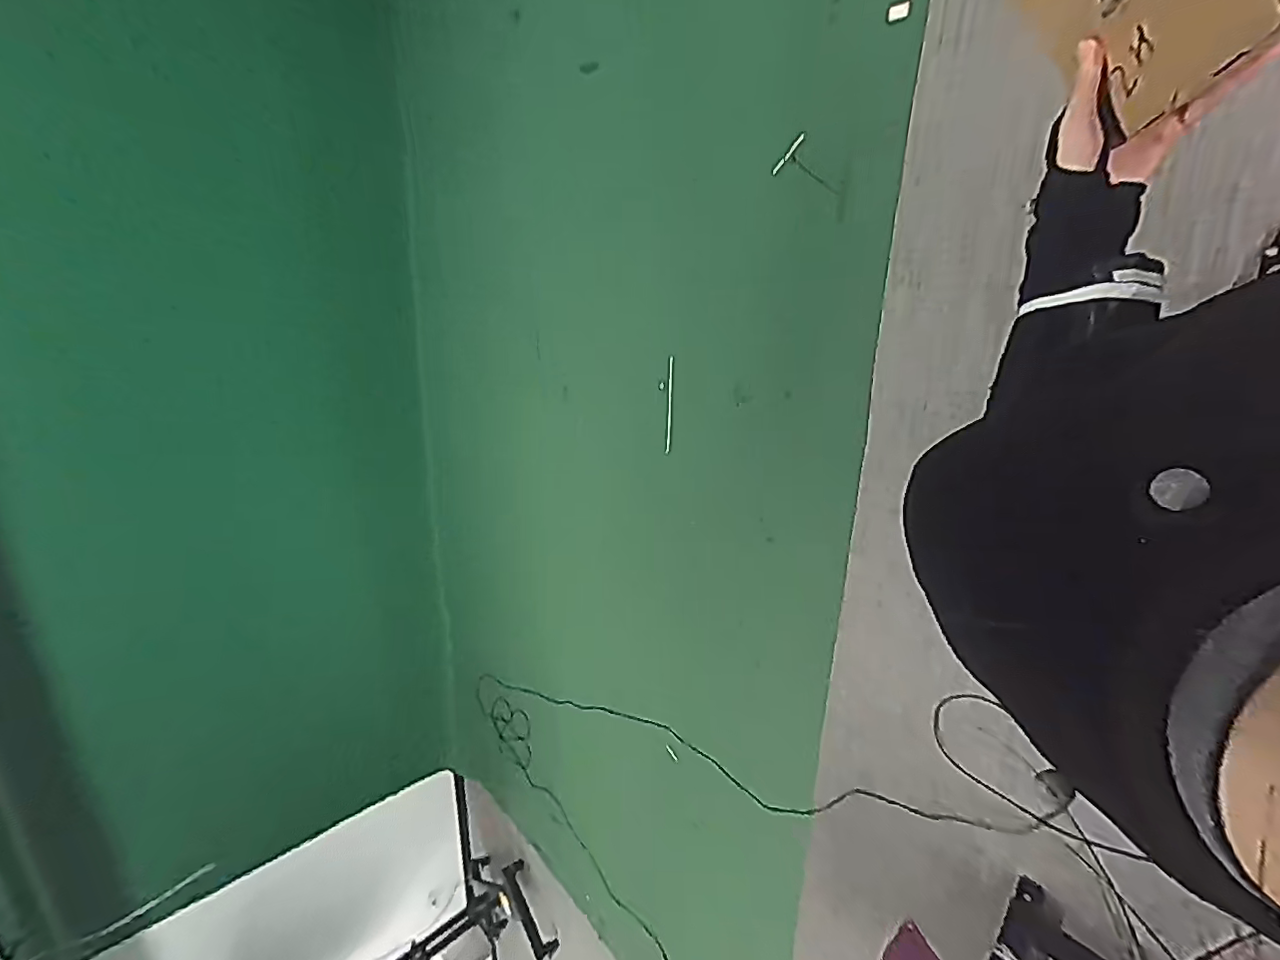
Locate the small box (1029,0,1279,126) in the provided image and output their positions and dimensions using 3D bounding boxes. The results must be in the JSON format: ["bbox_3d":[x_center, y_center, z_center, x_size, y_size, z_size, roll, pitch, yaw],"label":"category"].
[{"bbox_3d":[0.365,-0.371,0.316,0.176,0.168,0.179,-33,91,20],"label":"small box"}]
